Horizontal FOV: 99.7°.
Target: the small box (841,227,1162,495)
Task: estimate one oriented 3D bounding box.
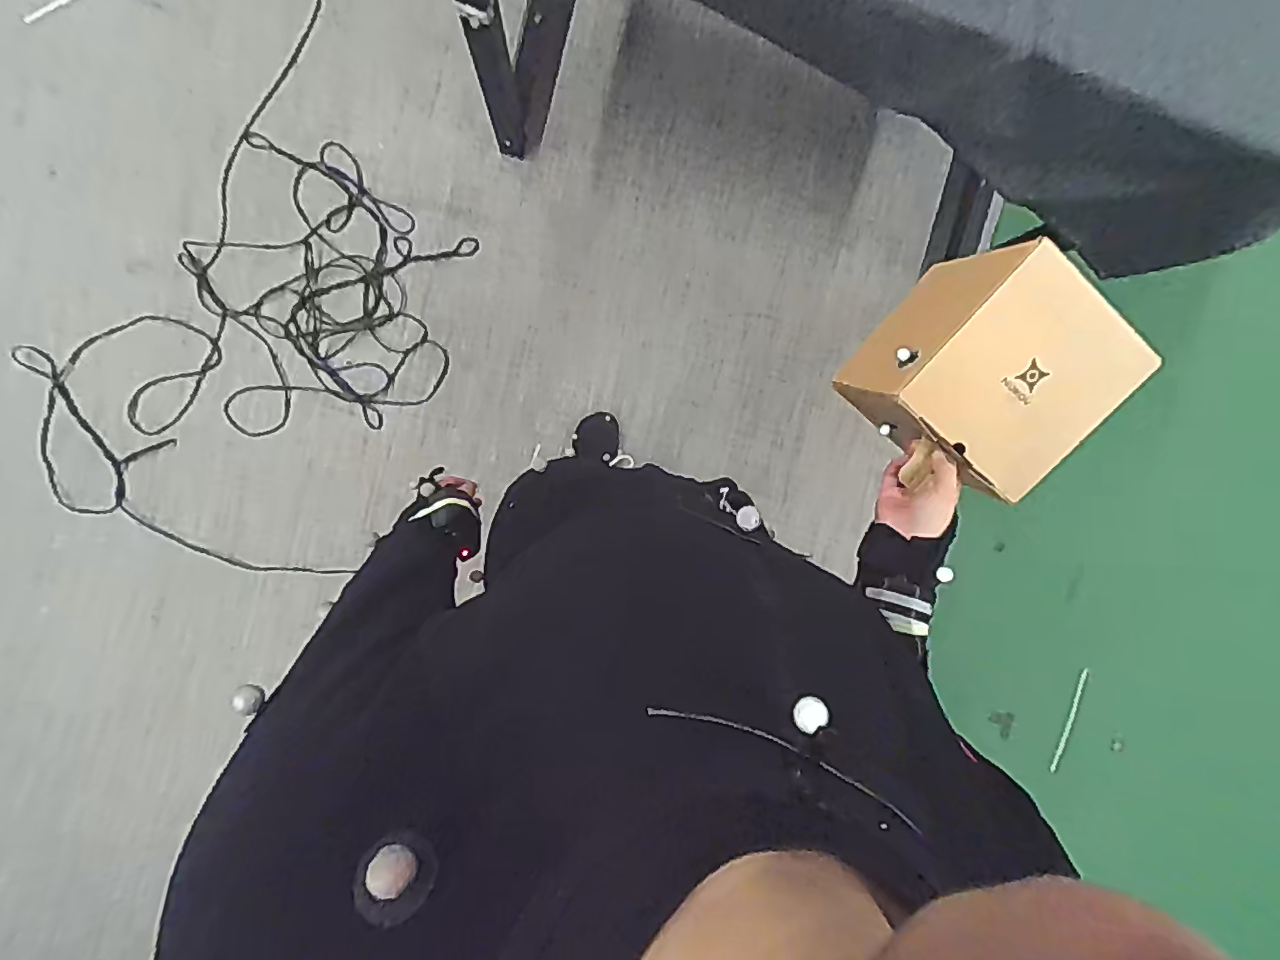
[{"bbox_3d":[0.342,-0.120,0.553,0.168,0.176,0.179,38,102,-11],"label":"small box"}]
